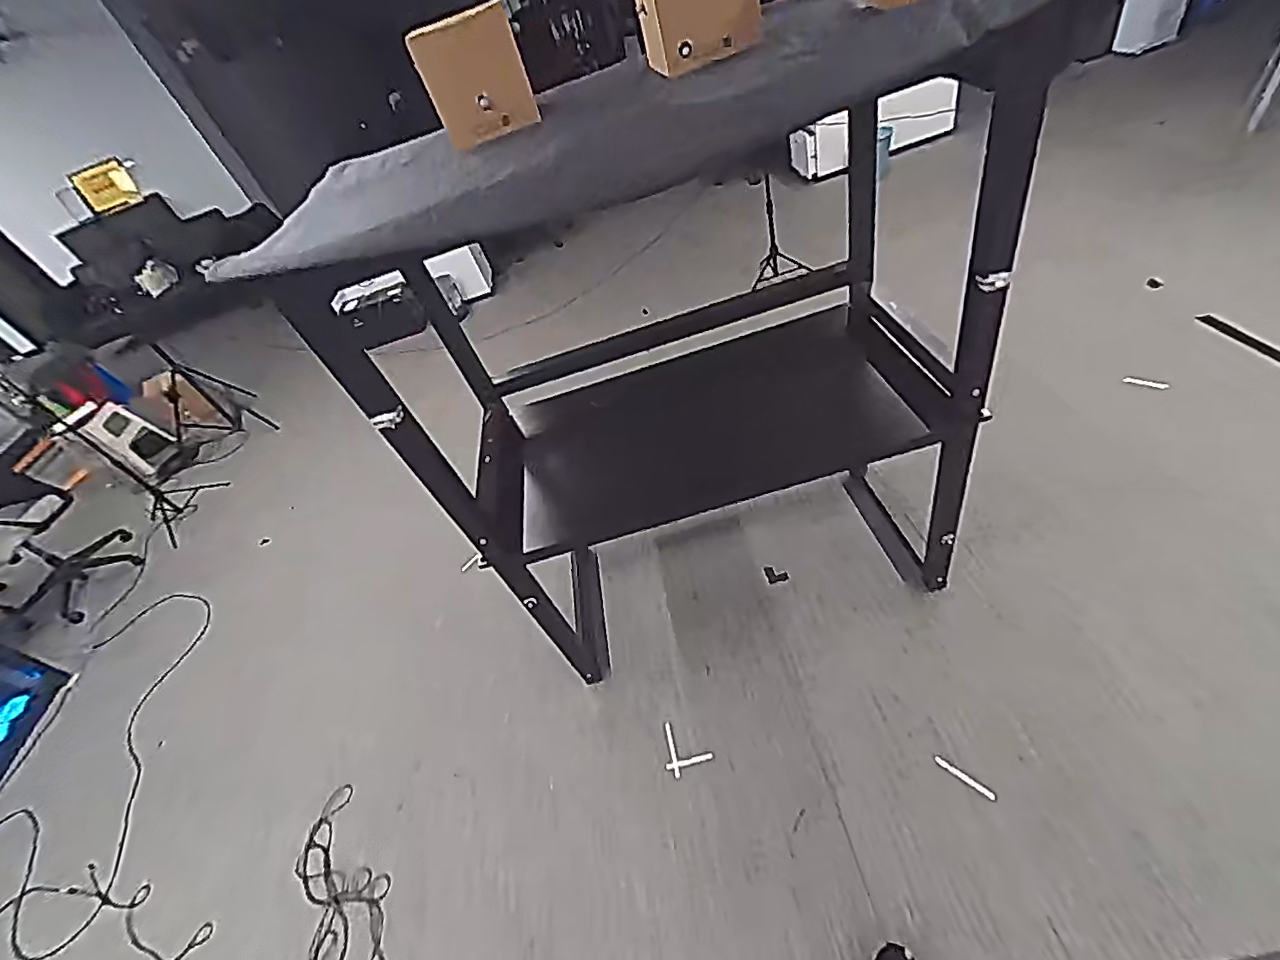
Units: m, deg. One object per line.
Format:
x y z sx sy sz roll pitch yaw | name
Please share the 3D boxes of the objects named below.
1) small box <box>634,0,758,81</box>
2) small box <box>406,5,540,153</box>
0.089 -0.802 0.909 0.168 0.176 0.179 -19 43 3 | small box
-0.289 -0.715 0.970 0.168 0.176 0.179 -19 44 3 | small box
